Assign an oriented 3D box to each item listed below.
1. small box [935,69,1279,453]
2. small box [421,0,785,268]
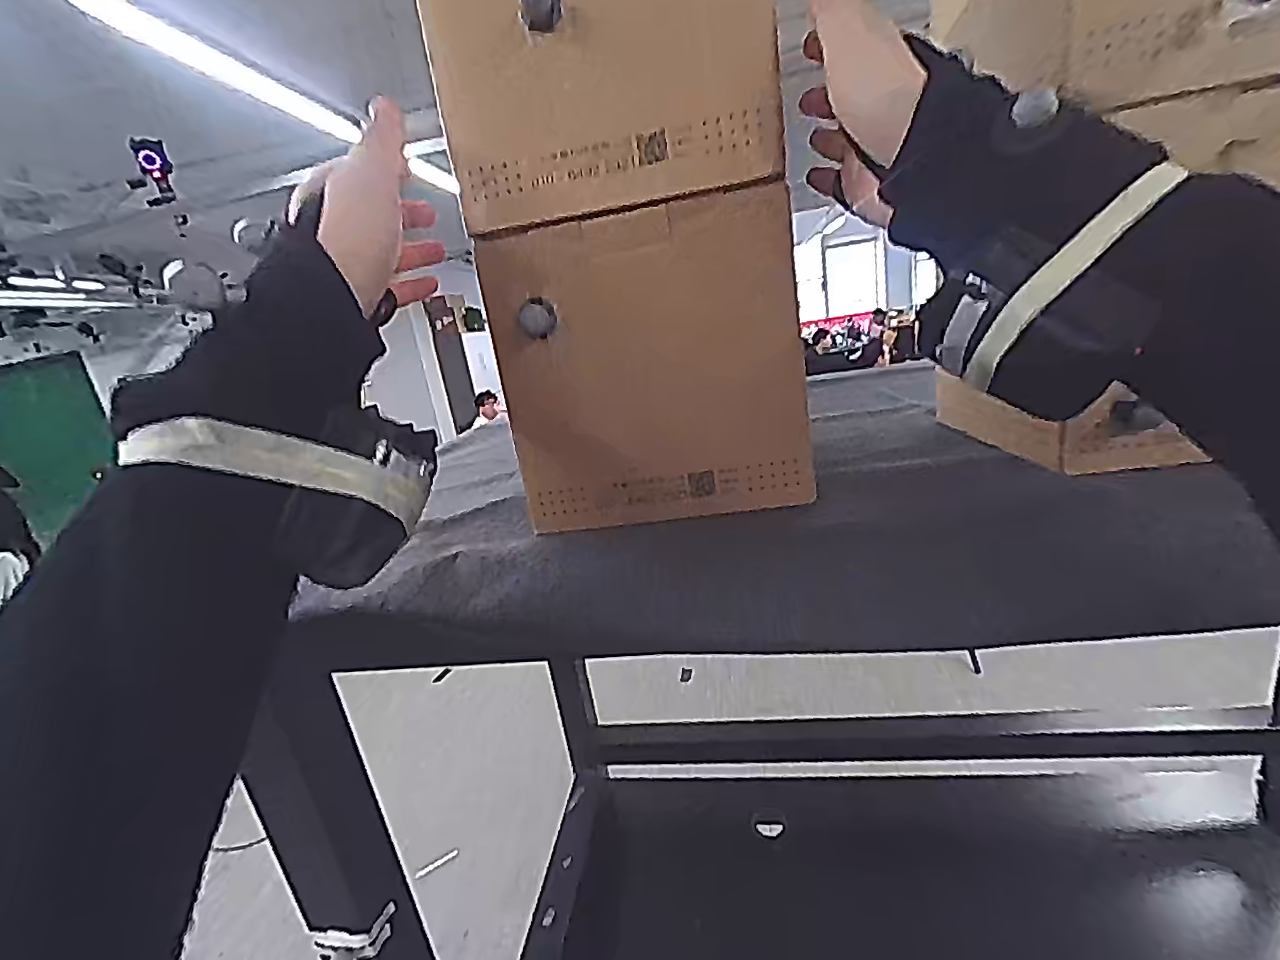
[{"bbox_3d":[0.295,-0.115,0.320,0.168,0.176,0.179,-6,14,10],"label":"small box"},{"bbox_3d":[-0.010,-0.237,0.326,0.168,0.176,0.179,-6,14,10],"label":"small box"}]
